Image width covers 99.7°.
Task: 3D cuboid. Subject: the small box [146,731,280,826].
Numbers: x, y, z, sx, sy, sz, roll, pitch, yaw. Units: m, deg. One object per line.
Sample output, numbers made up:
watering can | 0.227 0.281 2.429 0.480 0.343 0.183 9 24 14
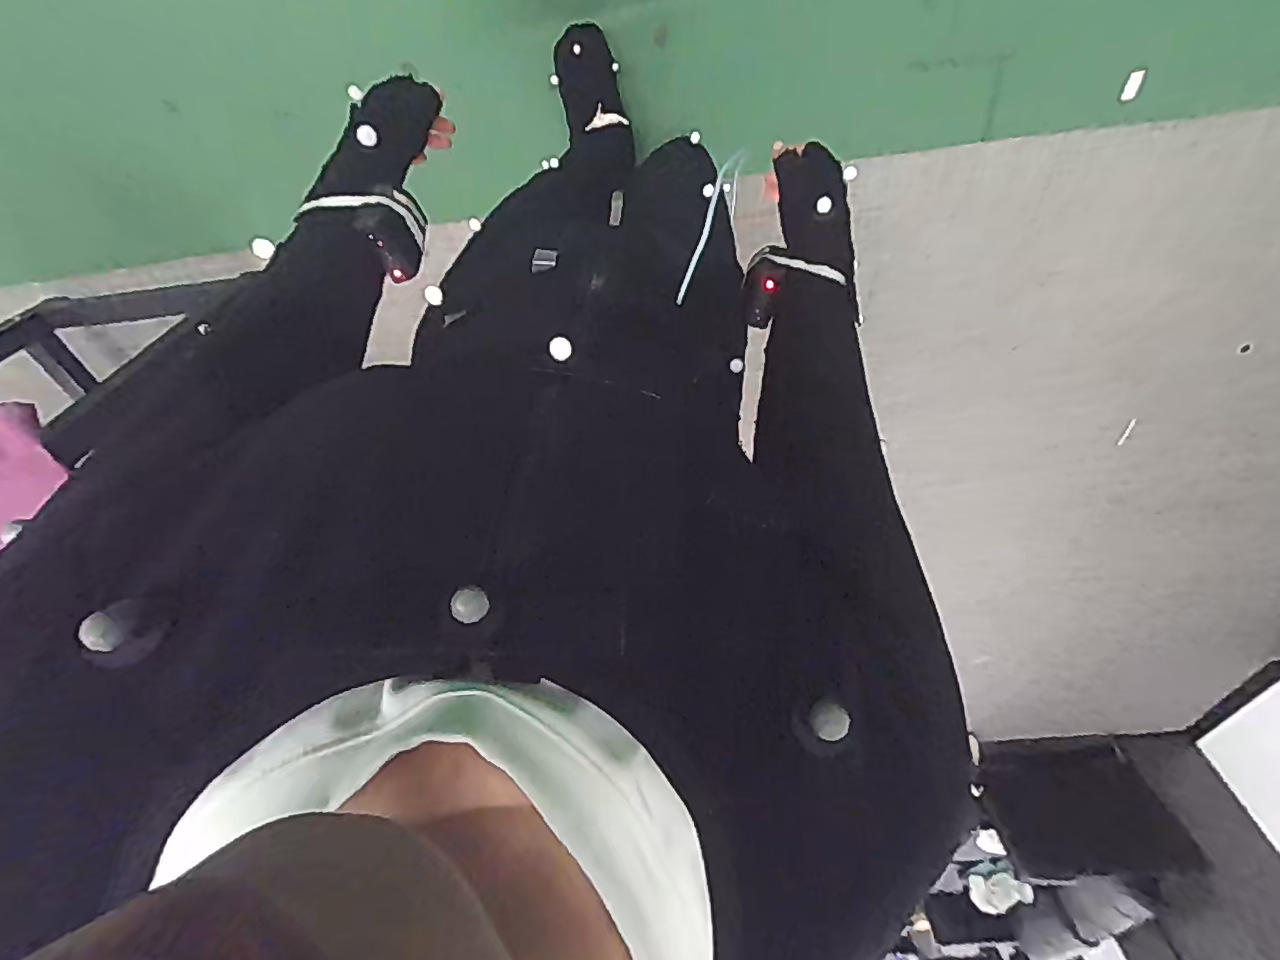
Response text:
small box | -1.078 0.762 1.384 0.179 0.176 0.168 -4 132 3
